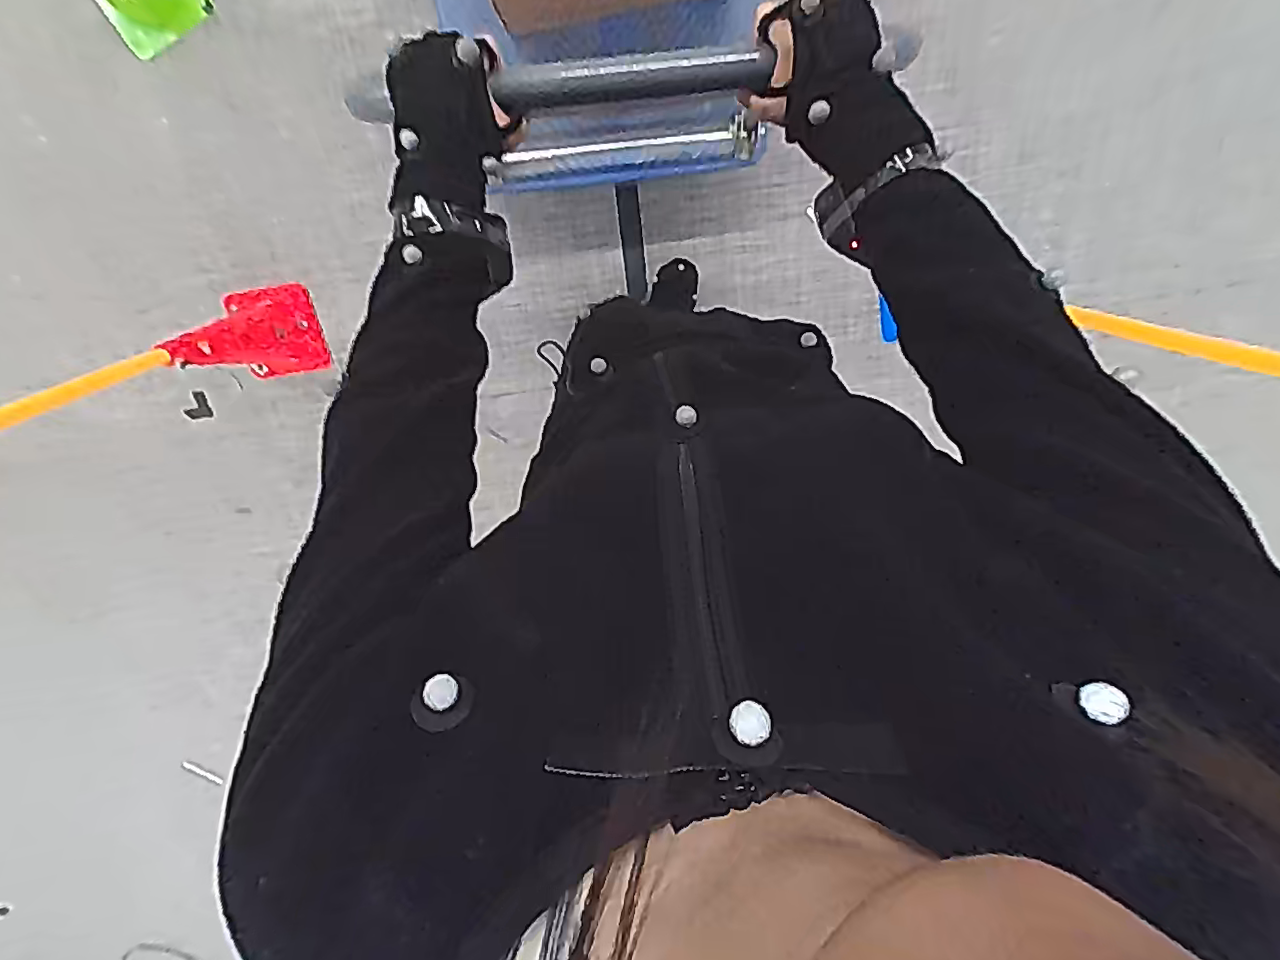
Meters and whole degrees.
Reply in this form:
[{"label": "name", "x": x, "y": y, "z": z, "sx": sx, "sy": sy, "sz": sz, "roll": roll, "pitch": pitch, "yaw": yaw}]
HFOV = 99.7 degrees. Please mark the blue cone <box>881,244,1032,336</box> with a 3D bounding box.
[{"label": "blue cone", "x": 0.691, "y": -0.398, "z": 1.158, "sx": 0.193, "sy": 0.380, "sz": 0.192, "roll": -11, "pitch": 110, "yaw": 2}]
